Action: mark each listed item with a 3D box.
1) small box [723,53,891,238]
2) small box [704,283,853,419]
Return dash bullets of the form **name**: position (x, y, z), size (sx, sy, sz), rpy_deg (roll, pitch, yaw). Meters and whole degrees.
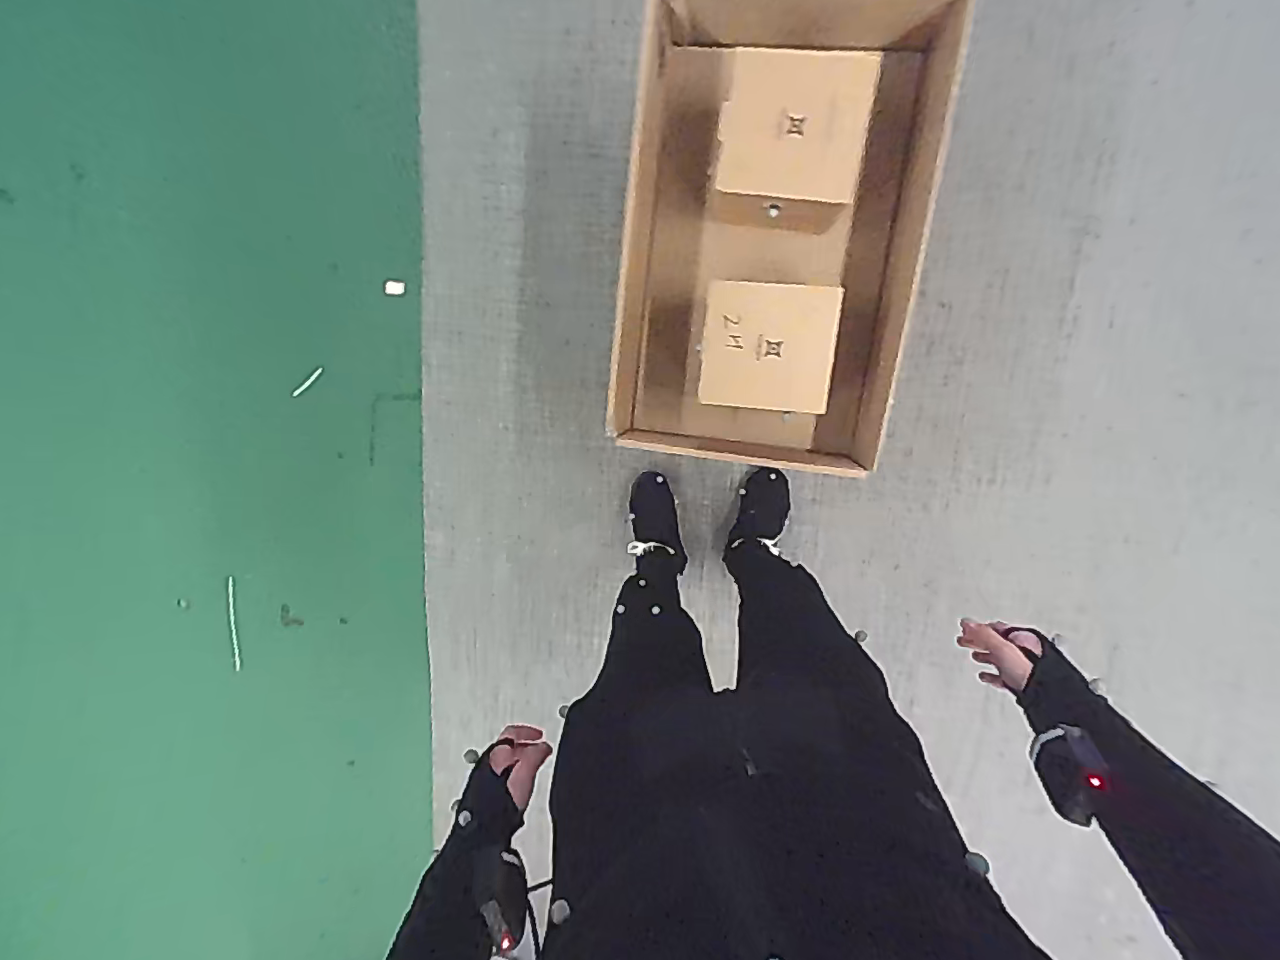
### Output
- **small box**: position (0.217, -0.450, 0.753), size (0.179, 0.176, 0.168), rpy_deg (11, 103, 6)
- **small box**: position (0.195, -0.187, 0.801), size (0.179, 0.176, 0.168), rpy_deg (7, 101, 8)
